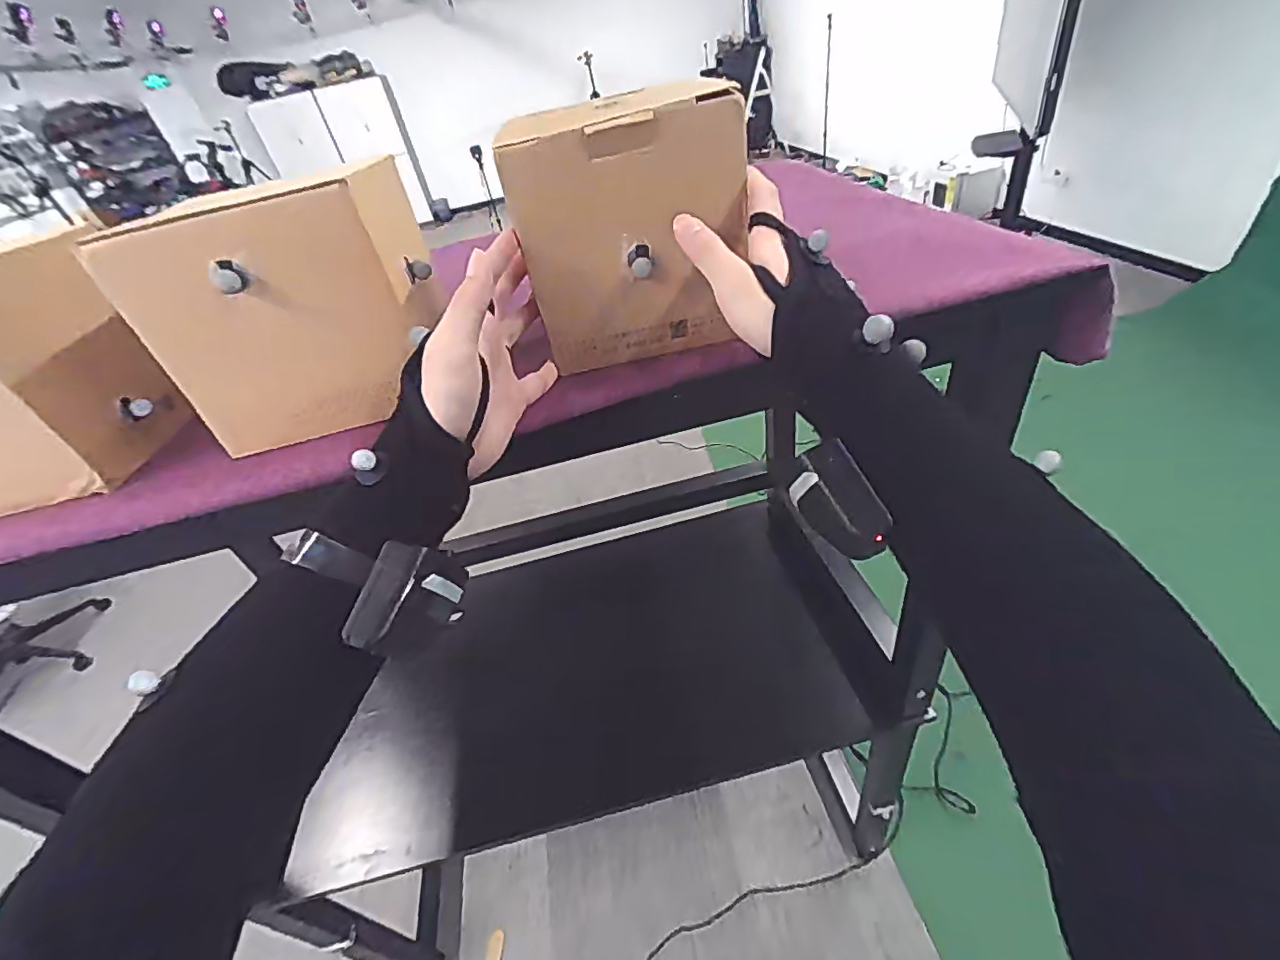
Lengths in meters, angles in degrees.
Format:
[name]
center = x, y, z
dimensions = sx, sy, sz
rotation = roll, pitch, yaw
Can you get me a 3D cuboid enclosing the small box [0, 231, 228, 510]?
[small box]
center = -0.512, -0.087, 0.452
dimensions = 0.179, 0.176, 0.168
rotation = -11, 37, 1
